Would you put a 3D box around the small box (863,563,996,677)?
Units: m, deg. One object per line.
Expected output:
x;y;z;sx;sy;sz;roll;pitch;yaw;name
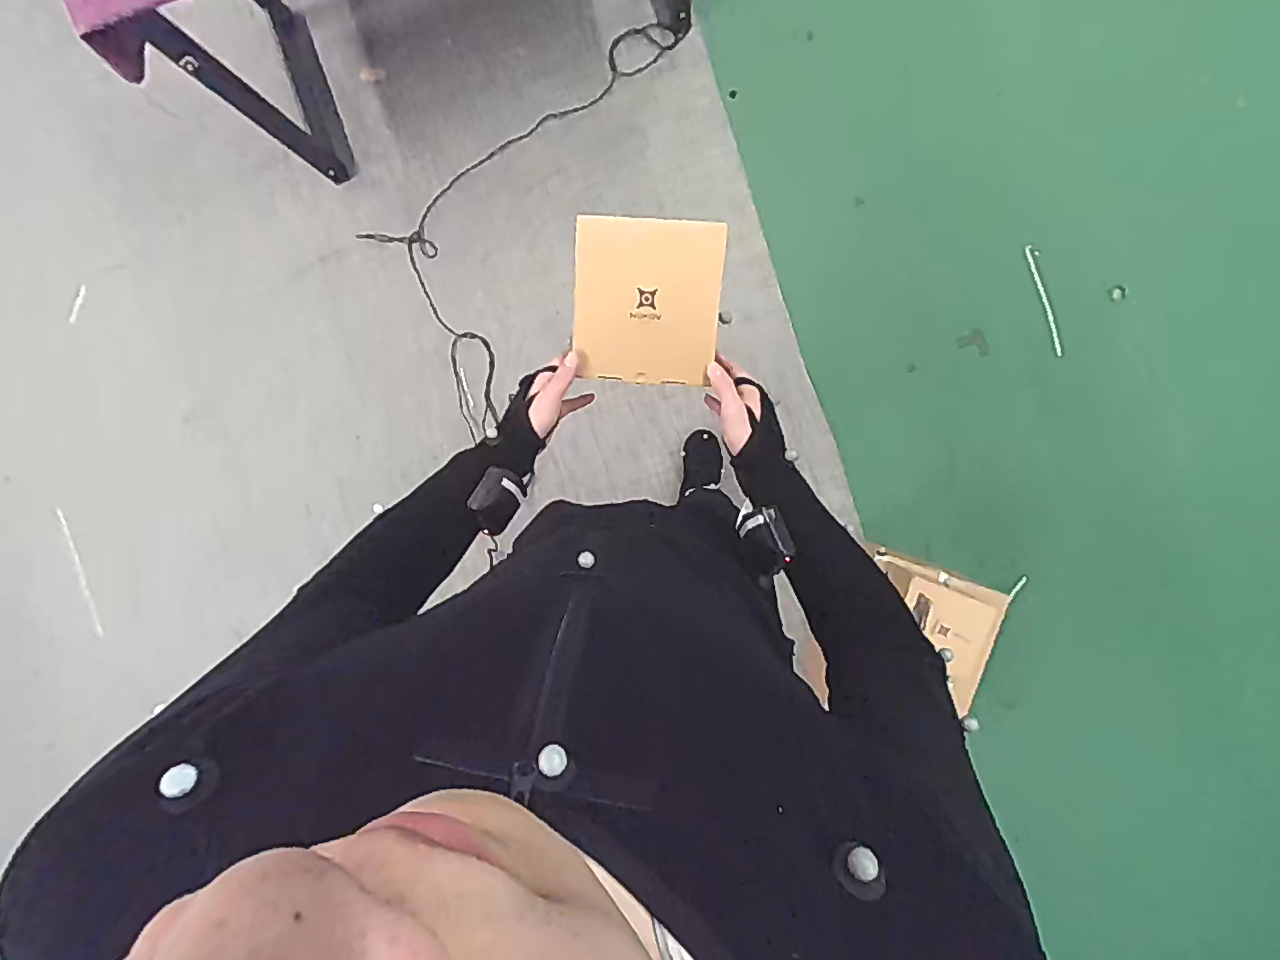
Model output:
0.614;0.292;1.175;0.179;0.176;0.168;22;95;5;small box

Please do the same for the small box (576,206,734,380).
0.017;-0.225;0.672;0.168;0.176;0.179;4;107;3;small box

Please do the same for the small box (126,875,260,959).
-1.012;1.058;1.220;0.168;0.176;0.179;25;93;4;small box
